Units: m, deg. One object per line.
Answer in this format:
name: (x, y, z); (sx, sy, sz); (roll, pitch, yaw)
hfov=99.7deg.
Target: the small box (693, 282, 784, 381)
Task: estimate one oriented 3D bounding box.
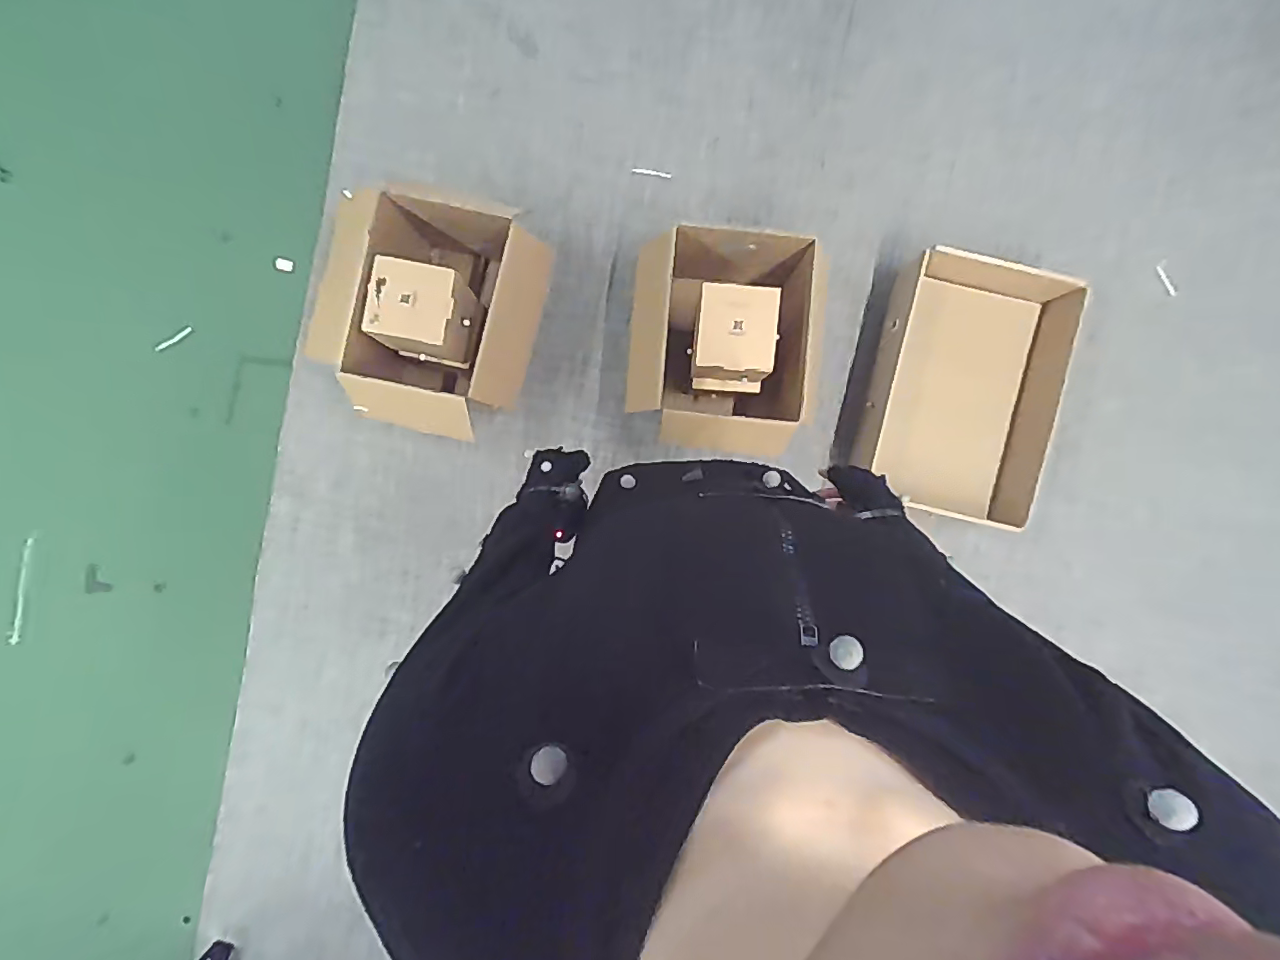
small box: (0.210, -0.321, 1.201); (0.168, 0.176, 0.179); (5, 92, 0)
